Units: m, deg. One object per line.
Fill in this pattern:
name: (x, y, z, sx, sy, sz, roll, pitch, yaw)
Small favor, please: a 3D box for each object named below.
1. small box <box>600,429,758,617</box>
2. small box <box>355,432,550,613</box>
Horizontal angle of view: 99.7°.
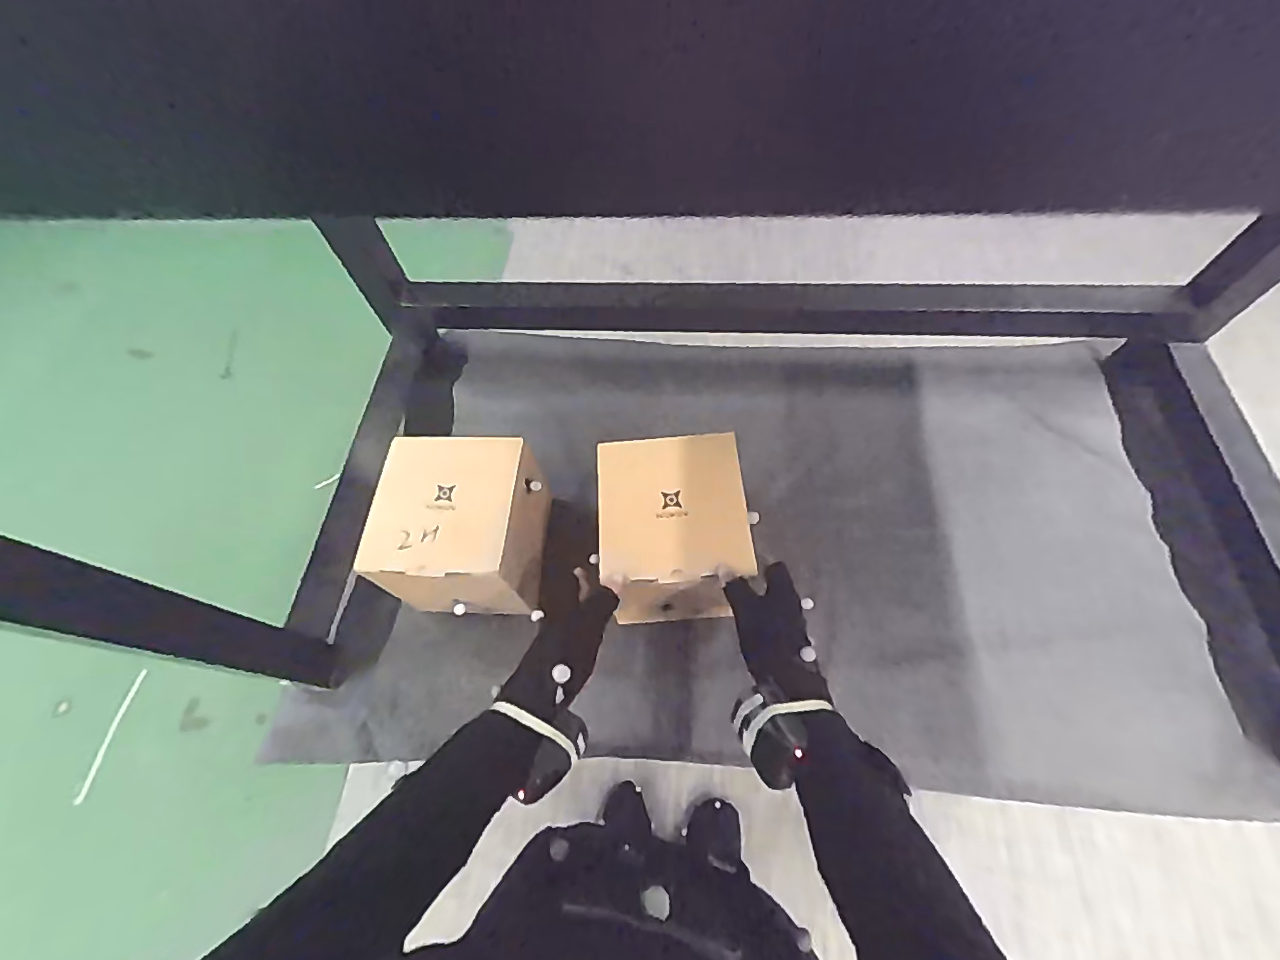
small box: (0.042, 0.059, 0.669, 0.168, 0.176, 0.179, -5, 62, 2)
small box: (-0.218, 0.057, 0.688, 0.168, 0.176, 0.179, 1, 61, 6)
